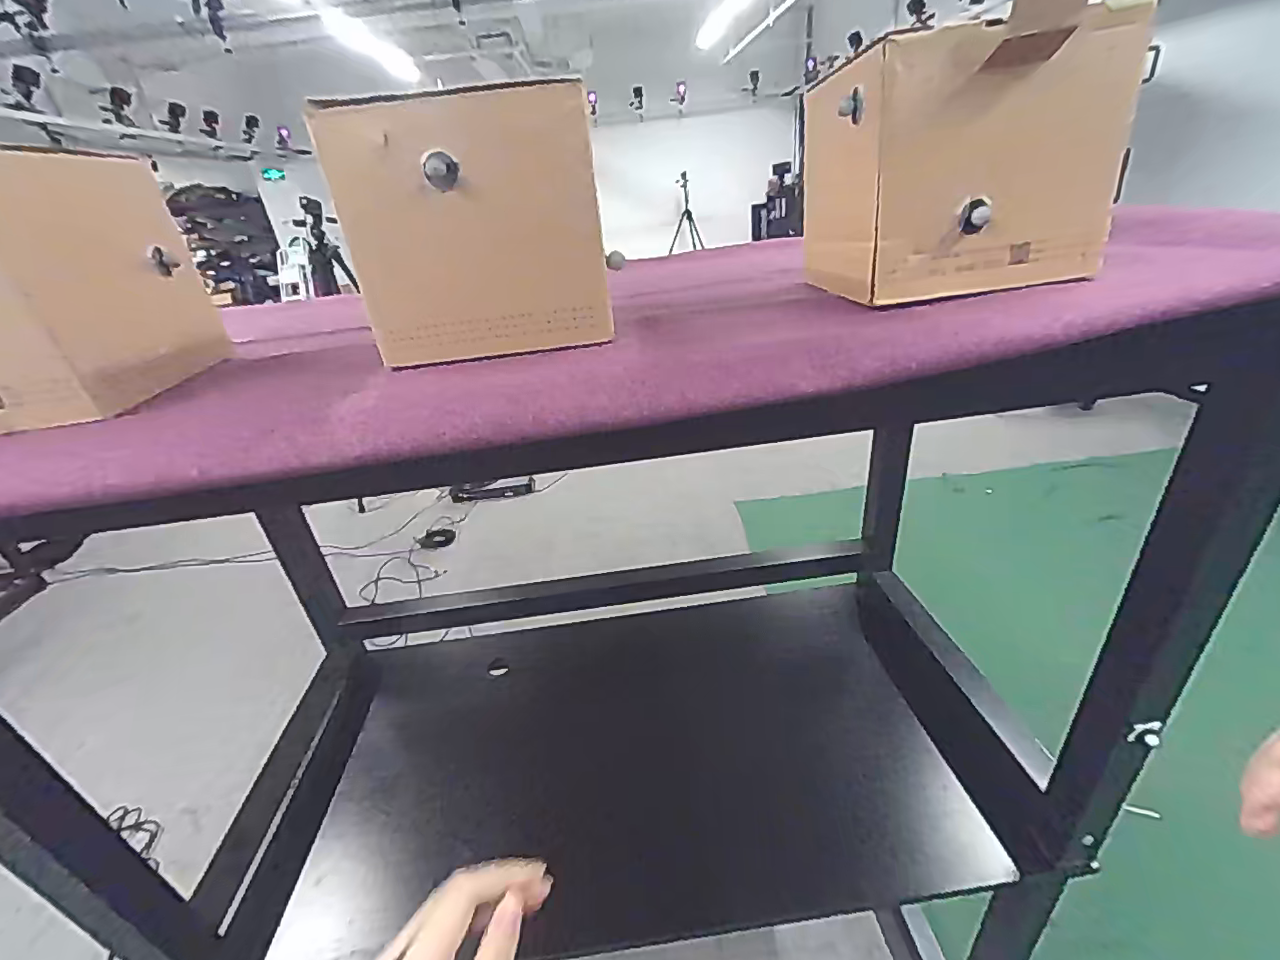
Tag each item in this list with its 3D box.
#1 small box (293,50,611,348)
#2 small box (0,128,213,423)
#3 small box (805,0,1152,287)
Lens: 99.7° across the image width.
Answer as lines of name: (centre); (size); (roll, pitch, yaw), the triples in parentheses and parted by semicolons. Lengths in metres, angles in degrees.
small box: (-0.122, -0.210, 0.433); (0.179, 0.176, 0.168); (-7, 27, -1)
small box: (-0.464, -0.144, 0.394); (0.168, 0.176, 0.179); (-10, 30, -4)
small box: (0.235, -0.257, 0.433); (0.168, 0.176, 0.179); (-8, 27, 2)
